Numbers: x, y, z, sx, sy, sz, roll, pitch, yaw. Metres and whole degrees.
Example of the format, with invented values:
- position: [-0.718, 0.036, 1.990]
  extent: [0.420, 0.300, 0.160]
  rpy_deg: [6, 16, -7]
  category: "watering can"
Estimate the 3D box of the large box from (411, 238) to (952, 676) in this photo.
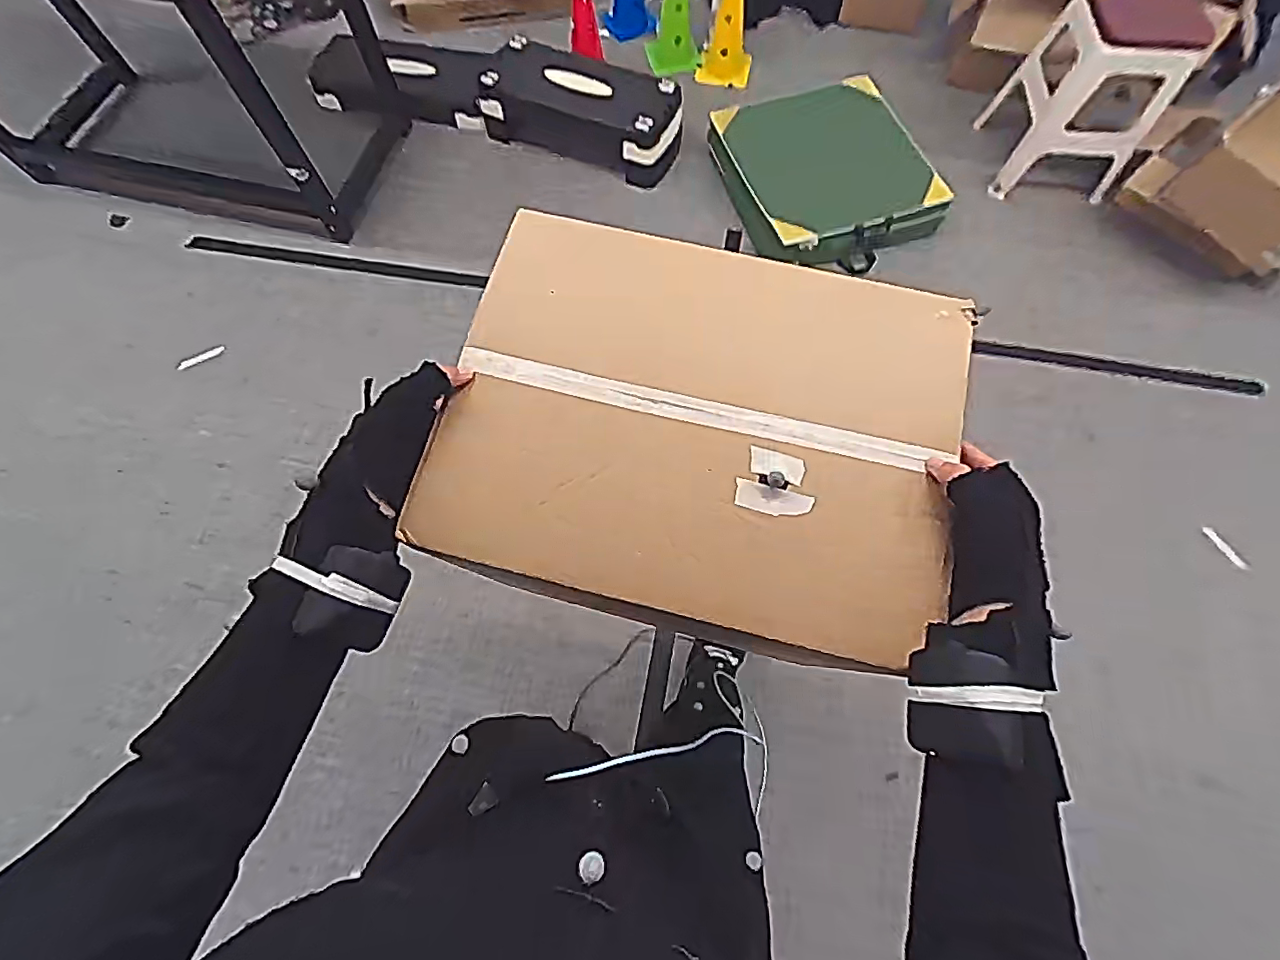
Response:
- position: [0.046, 0.003, 0.587]
  extent: [0.408, 0.320, 0.320]
  rpy_deg: [14, 74, 3]
  category: "large box"
